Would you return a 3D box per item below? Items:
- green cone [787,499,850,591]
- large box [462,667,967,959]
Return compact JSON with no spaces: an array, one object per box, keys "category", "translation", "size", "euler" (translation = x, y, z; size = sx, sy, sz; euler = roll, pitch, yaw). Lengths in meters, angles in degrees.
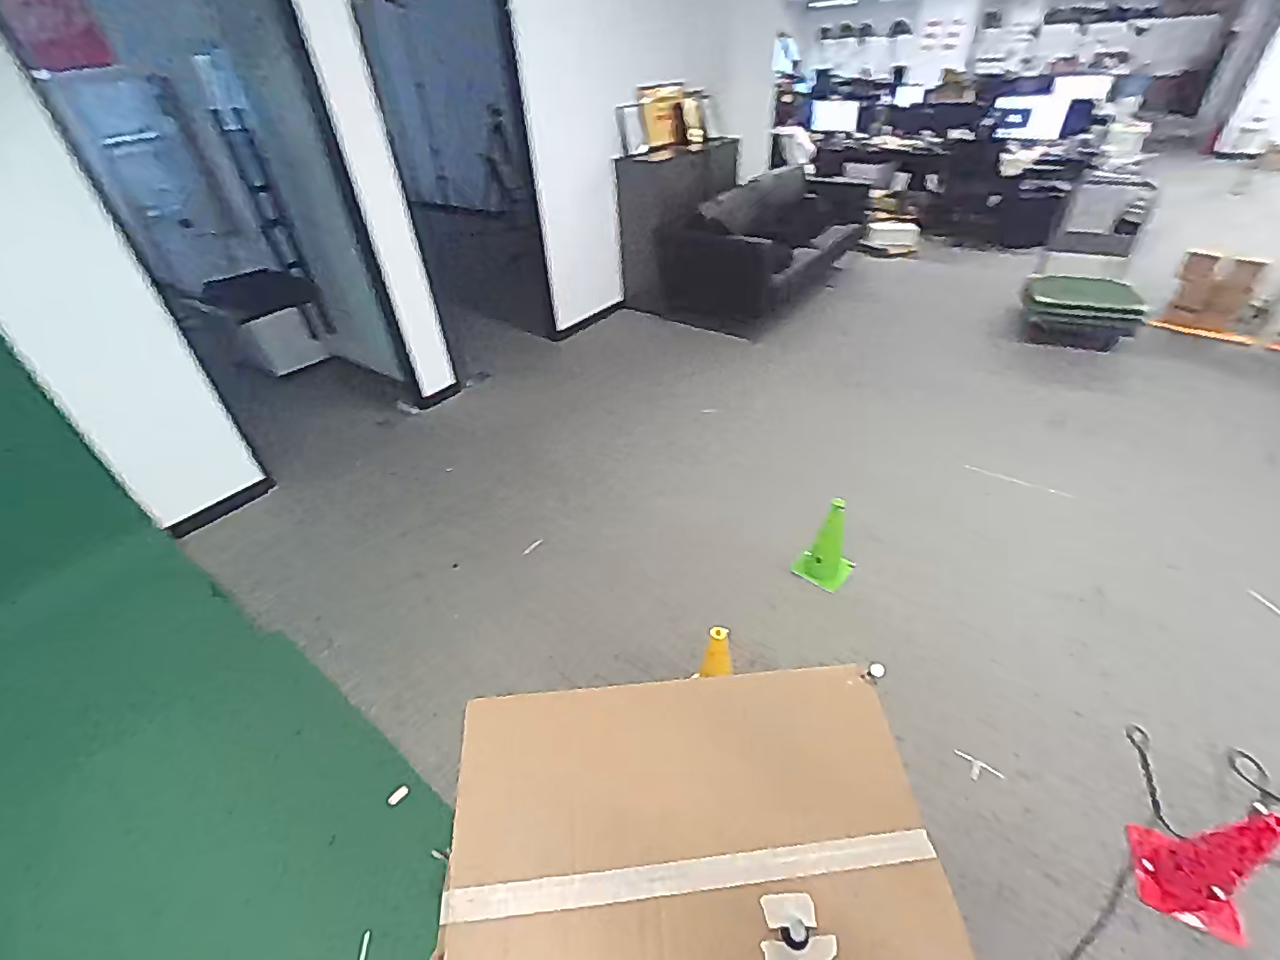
[{"category":"green cone","translation":[0.716,0.218,2.100],"size":[0.200,0.368,0.202],"euler":[27,48,34]},{"category":"large box","translation":[0.047,0.419,0.573],"size":[0.408,0.320,0.320],"euler":[-3,53,-5]}]
